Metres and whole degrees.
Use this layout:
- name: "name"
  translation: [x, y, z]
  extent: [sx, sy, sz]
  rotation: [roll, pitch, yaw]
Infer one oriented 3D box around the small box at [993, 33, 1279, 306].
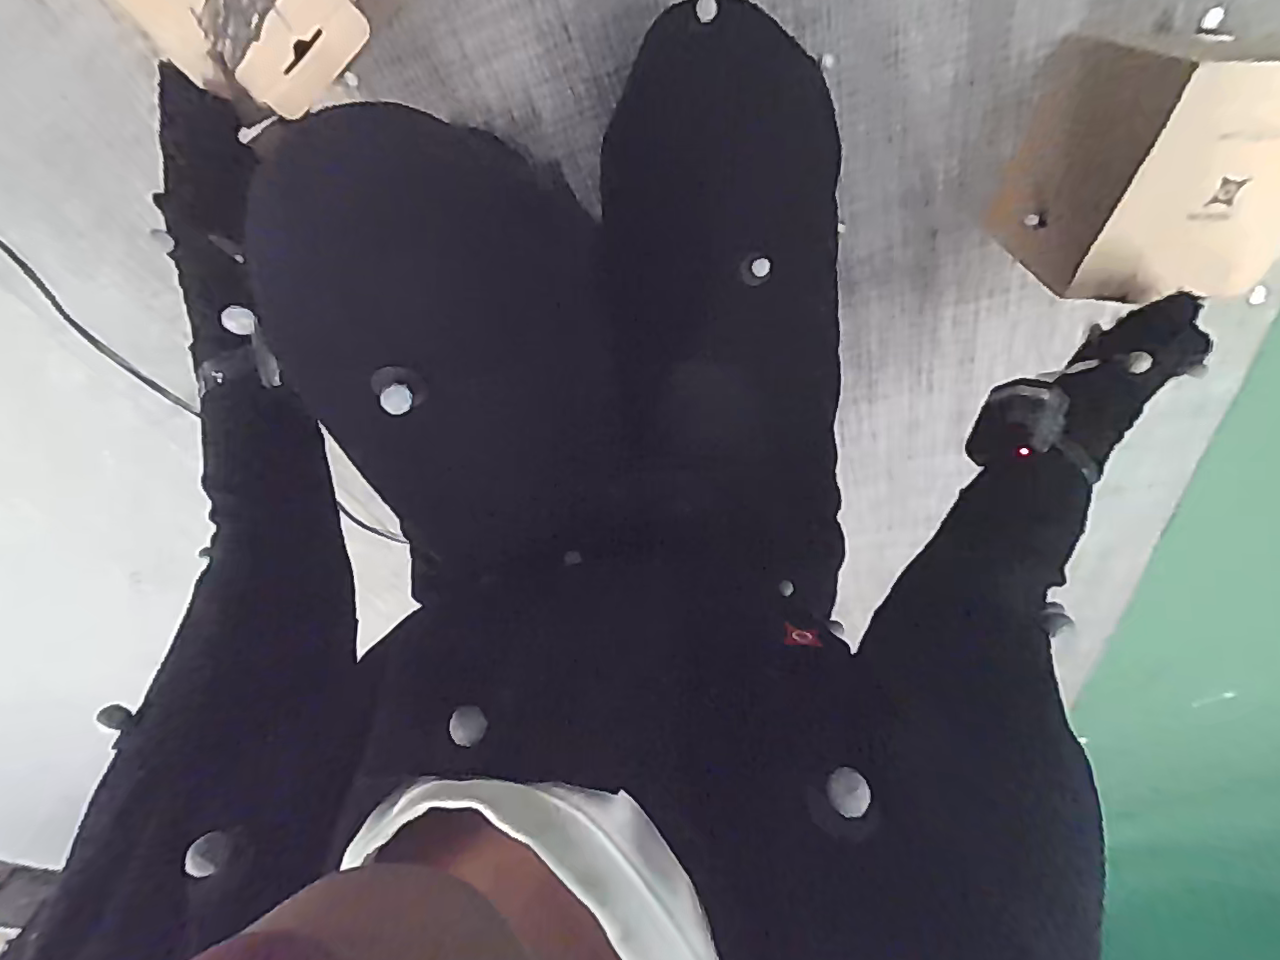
- name: "small box"
  translation: [0.459, -0.277, 0.485]
  extent: [0.168, 0.176, 0.179]
  rotation: [-1, 135, 1]
